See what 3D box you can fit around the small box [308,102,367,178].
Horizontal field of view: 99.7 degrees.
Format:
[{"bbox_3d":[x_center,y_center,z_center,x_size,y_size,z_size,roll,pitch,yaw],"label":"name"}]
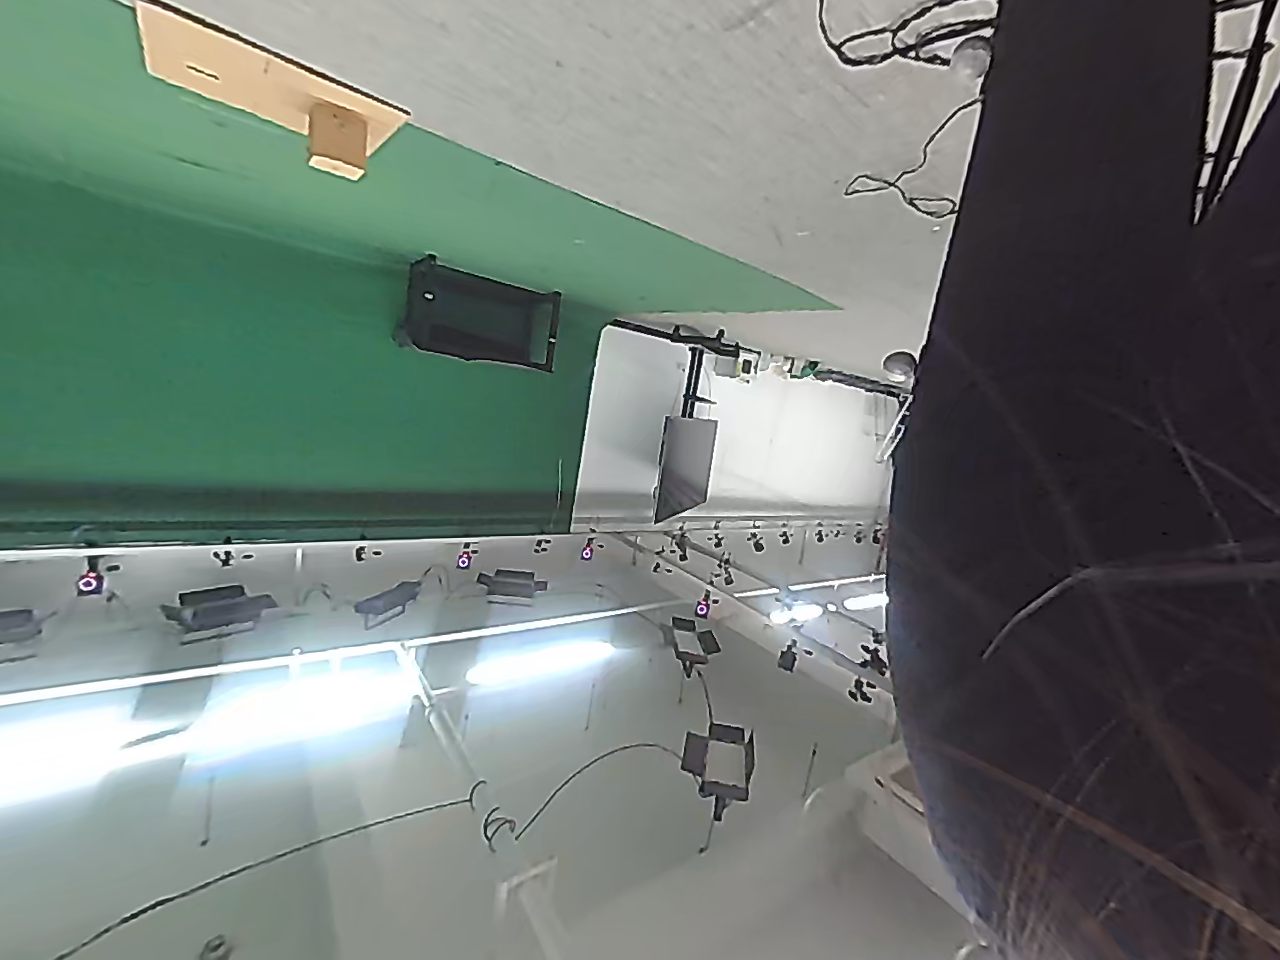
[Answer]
[{"bbox_3d":[-1.103,-1.235,1.972,0.168,0.176,0.179,0,-167,-38],"label":"small box"}]
